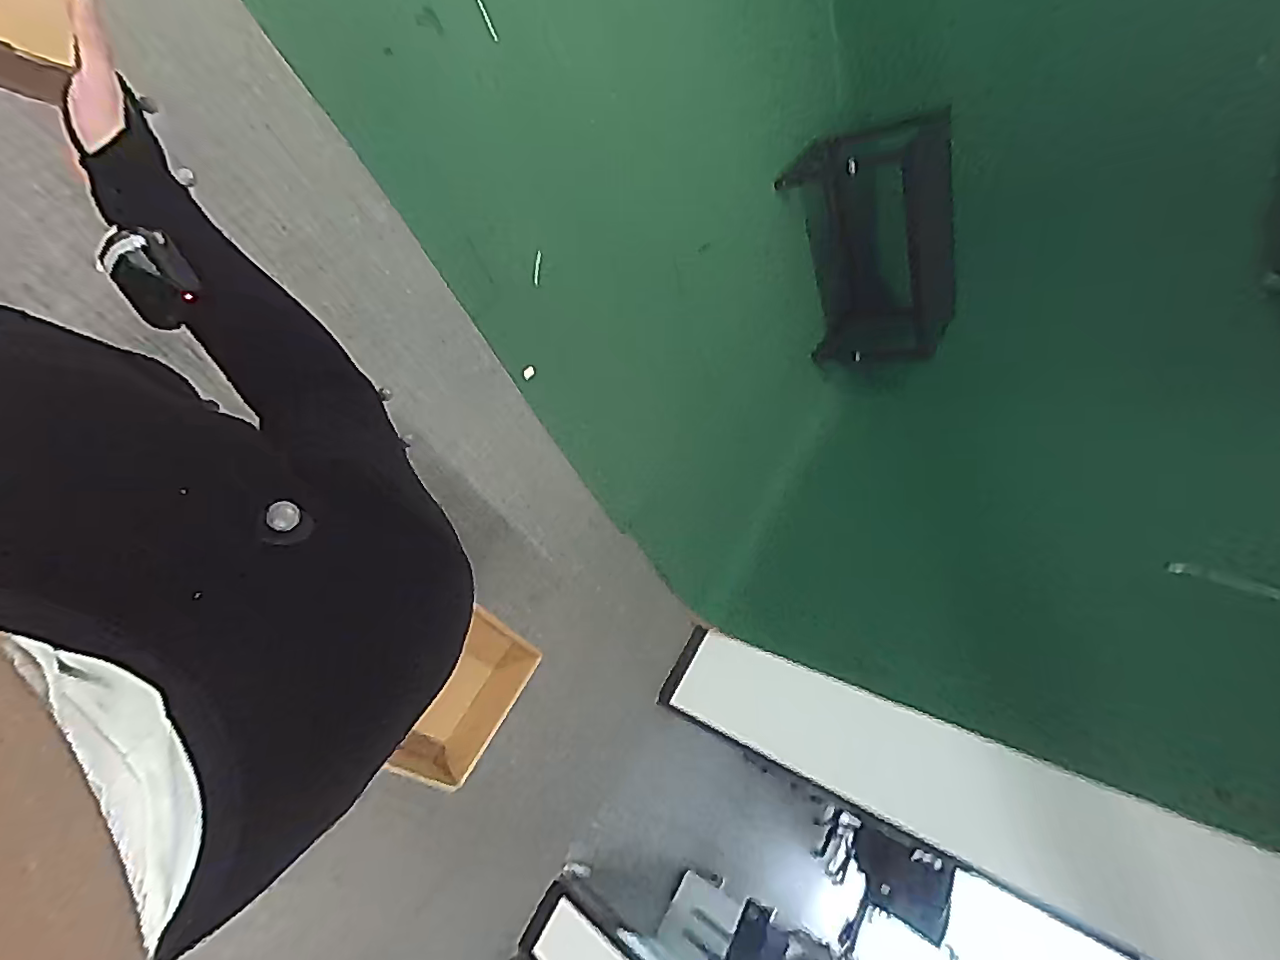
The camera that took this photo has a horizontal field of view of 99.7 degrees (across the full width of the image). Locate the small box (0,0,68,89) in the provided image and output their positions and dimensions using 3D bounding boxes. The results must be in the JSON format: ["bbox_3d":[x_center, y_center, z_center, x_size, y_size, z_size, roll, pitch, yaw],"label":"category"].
[{"bbox_3d":[-0.513,-0.405,0.365,0.168,0.176,0.179,-6,109,-49],"label":"small box"}]
